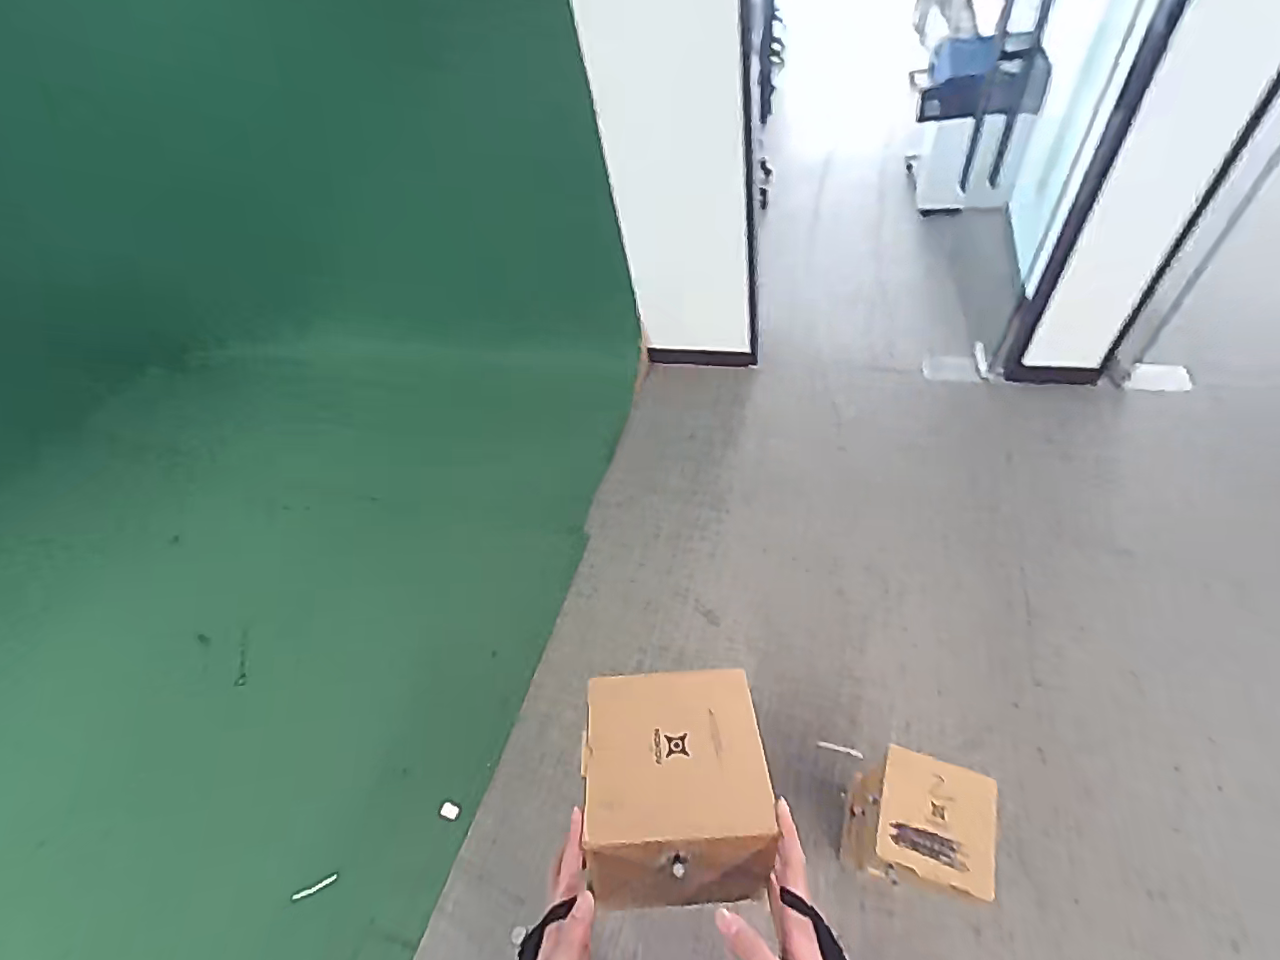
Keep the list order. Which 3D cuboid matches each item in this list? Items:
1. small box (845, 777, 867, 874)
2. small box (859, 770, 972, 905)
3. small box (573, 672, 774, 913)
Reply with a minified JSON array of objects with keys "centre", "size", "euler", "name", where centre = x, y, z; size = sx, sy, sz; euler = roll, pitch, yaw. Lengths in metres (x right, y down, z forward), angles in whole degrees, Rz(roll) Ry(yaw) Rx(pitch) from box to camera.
[{"centre":[0.552,0.777,1.177],"size":[0.179,0.176,0.168],"euler":[9,55,19],"name":"small box"},{"centre":[0.523,0.690,1.043],"size":[0.168,0.176,0.179],"euler":[5,53,18],"name":"small box"},{"centre":[0.031,0.326,0.568],"size":[0.179,0.176,0.168],"euler":[-4,36,0],"name":"small box"}]
